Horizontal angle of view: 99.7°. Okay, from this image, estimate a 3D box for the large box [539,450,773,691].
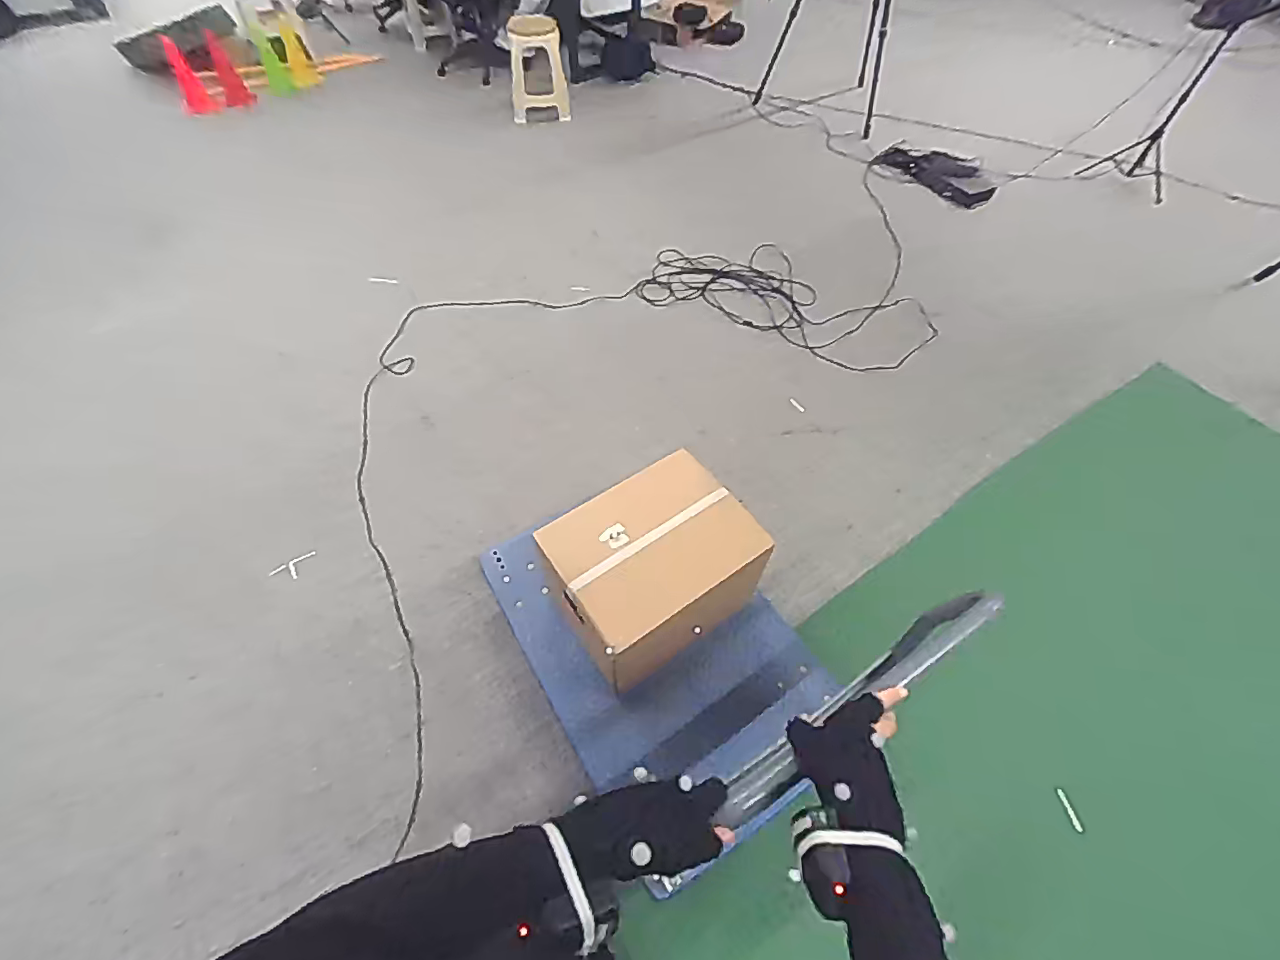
[{"bbox_3d":[0.033,0.208,1.247,0.408,0.320,0.320,-30,60,-20],"label":"large box"}]
